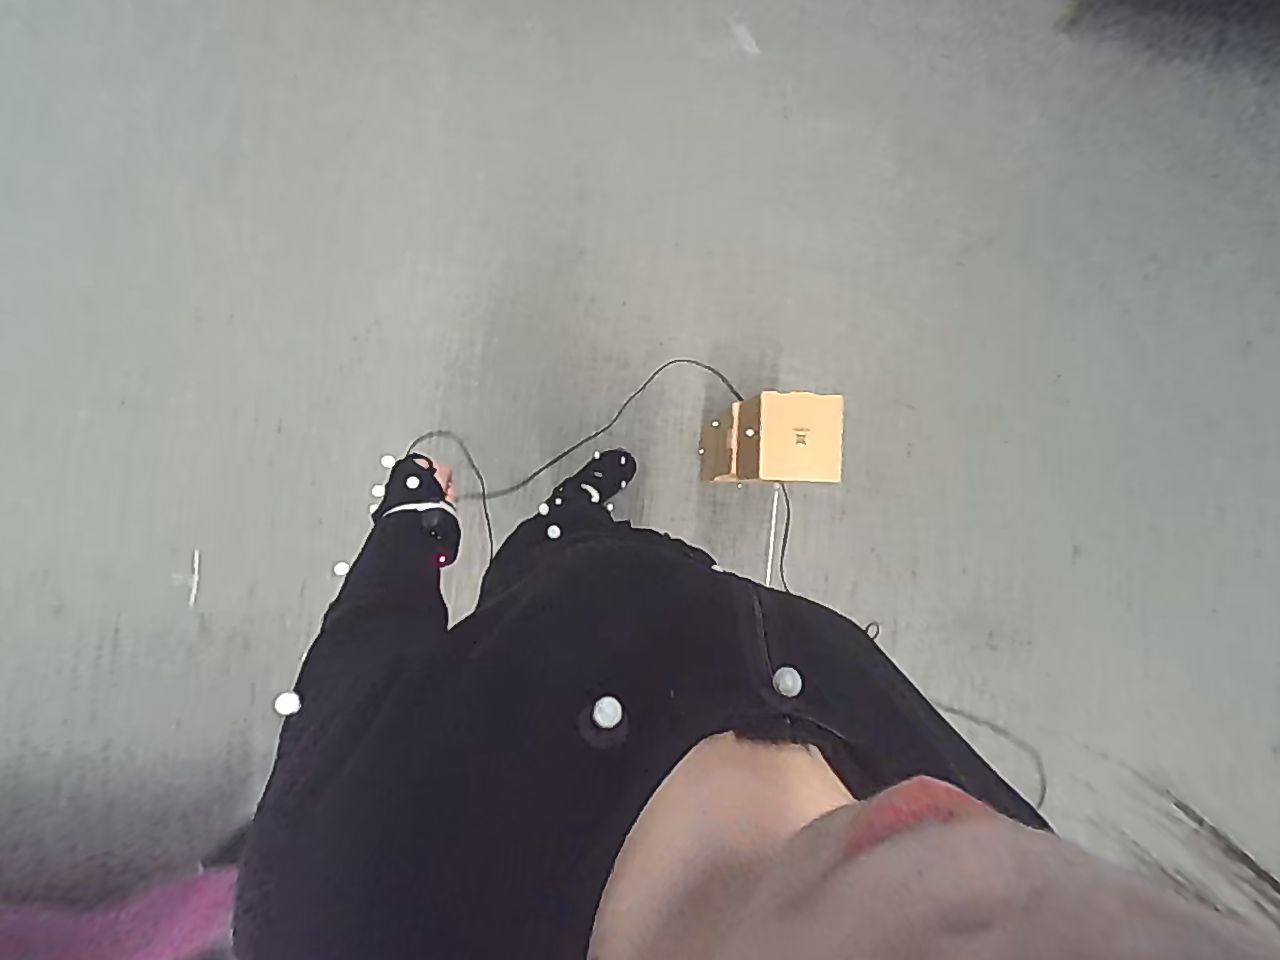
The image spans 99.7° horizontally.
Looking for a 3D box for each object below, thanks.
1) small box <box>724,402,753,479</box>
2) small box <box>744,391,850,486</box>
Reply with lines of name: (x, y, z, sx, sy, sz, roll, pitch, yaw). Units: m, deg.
small box: (0.305, -0.086, 1.296, 0.179, 0.176, 0.168, 3, 88, -5)
small box: (0.321, -0.079, 1.133, 0.168, 0.176, 0.179, 3, 87, -4)
